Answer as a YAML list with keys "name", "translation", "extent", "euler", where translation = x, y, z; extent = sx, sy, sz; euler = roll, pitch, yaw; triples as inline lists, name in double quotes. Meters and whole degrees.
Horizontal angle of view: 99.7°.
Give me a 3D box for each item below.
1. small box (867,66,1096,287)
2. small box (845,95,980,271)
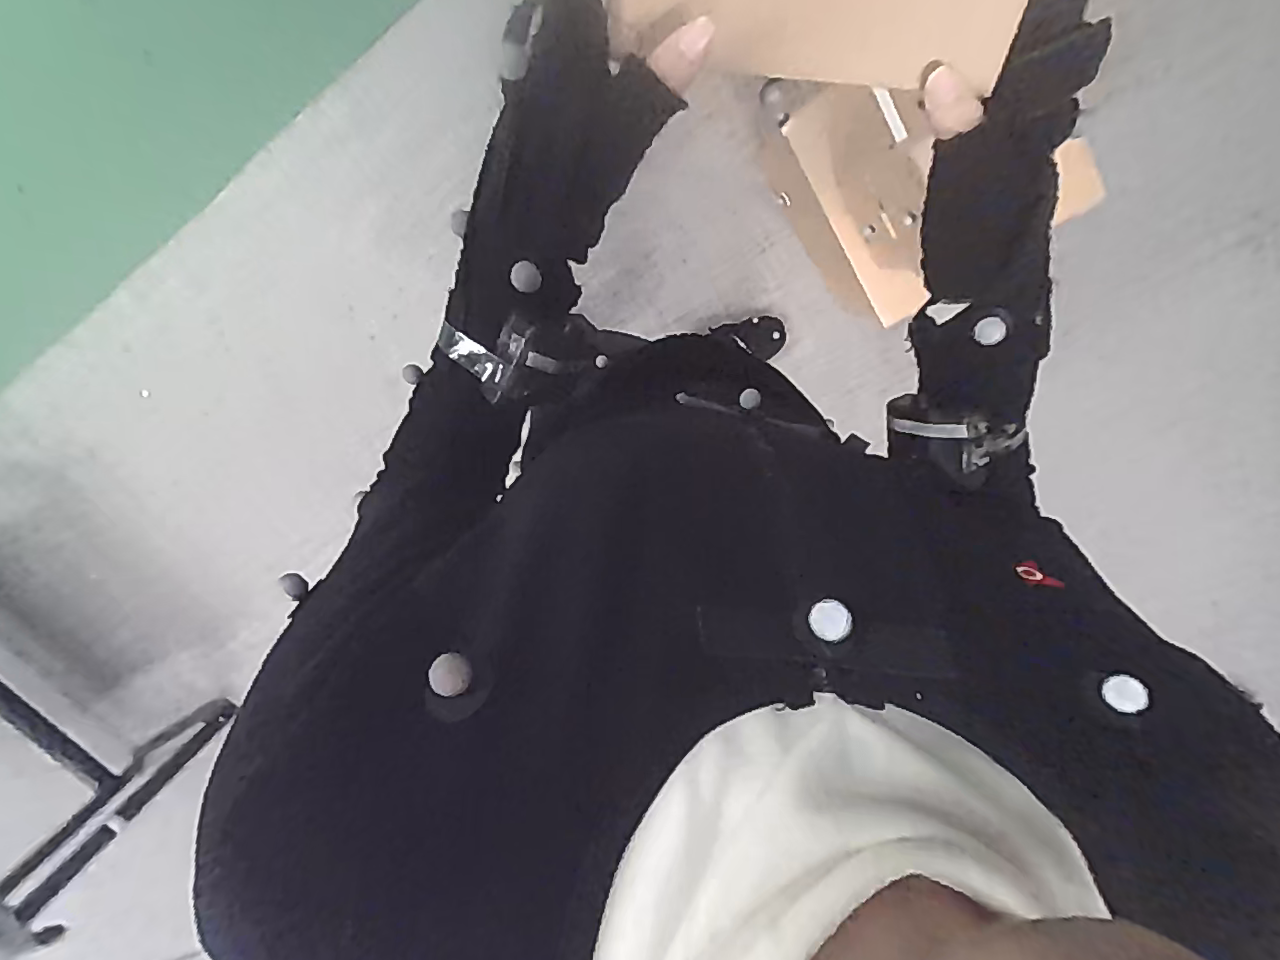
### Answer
- name: "small box"
  translation: [0.432, -0.382, 0.710]
  extent: [0.168, 0.176, 0.179]
  euler: [-32, 107, 16]
- name: "small box"
  translation: [0.446, -0.454, 0.858]
  extent: [0.179, 0.176, 0.168]
  euler: [-31, 106, 17]
